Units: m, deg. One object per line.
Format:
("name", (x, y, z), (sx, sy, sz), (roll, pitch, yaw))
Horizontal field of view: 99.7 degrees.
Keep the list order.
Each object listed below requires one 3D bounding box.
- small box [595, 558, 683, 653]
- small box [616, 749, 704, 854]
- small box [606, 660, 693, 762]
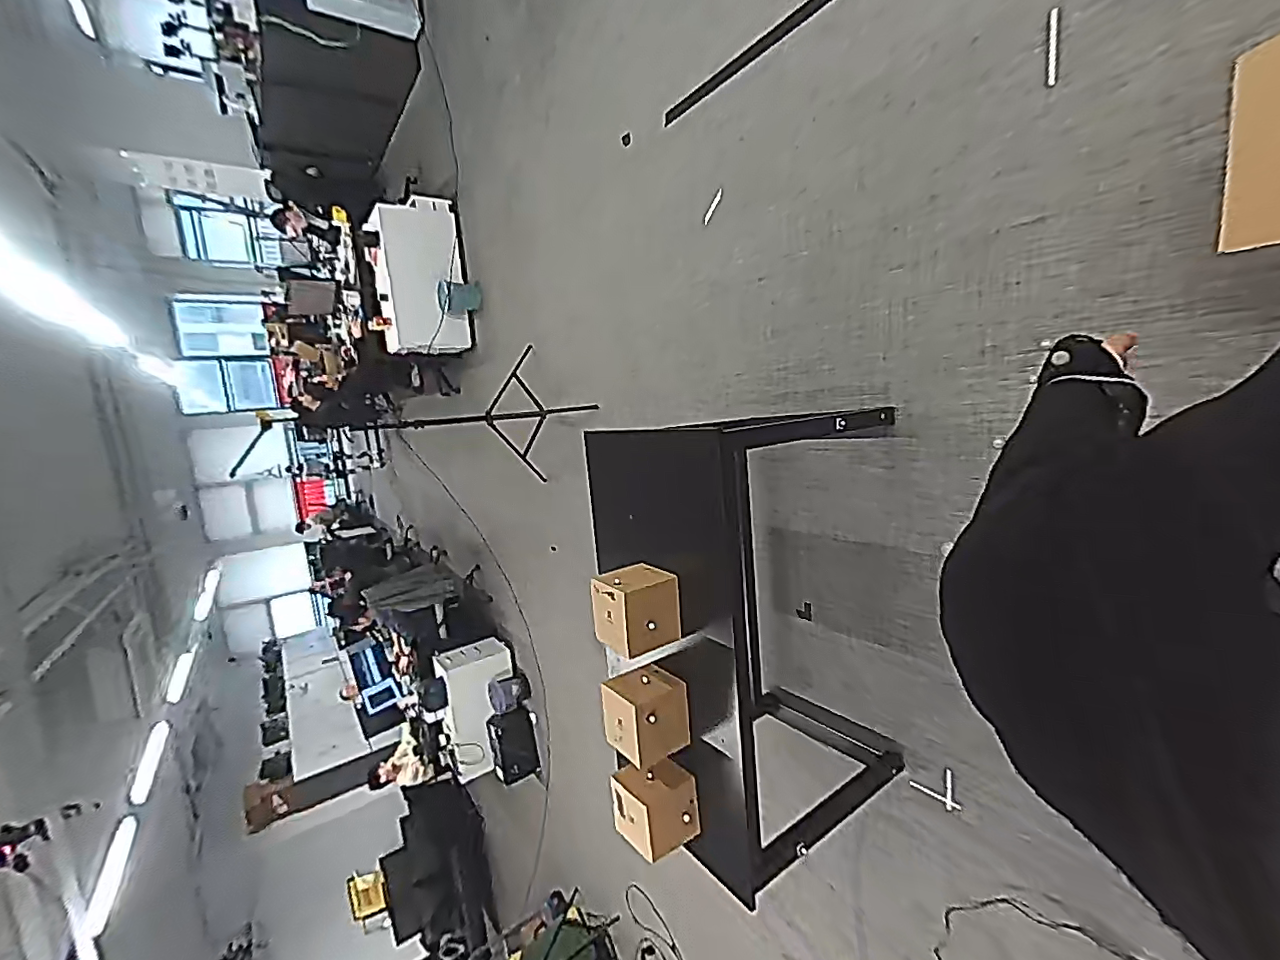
("small box", (0.001, 0.323, 1.425), (0.168, 0.176, 0.179), (9, 107, 55))
("small box", (0.054, 0.875, 1.500), (0.179, 0.176, 0.168), (3, 101, 55))
("small box", (0.028, 0.612, 1.464), (0.168, 0.176, 0.179), (6, 103, 56))
